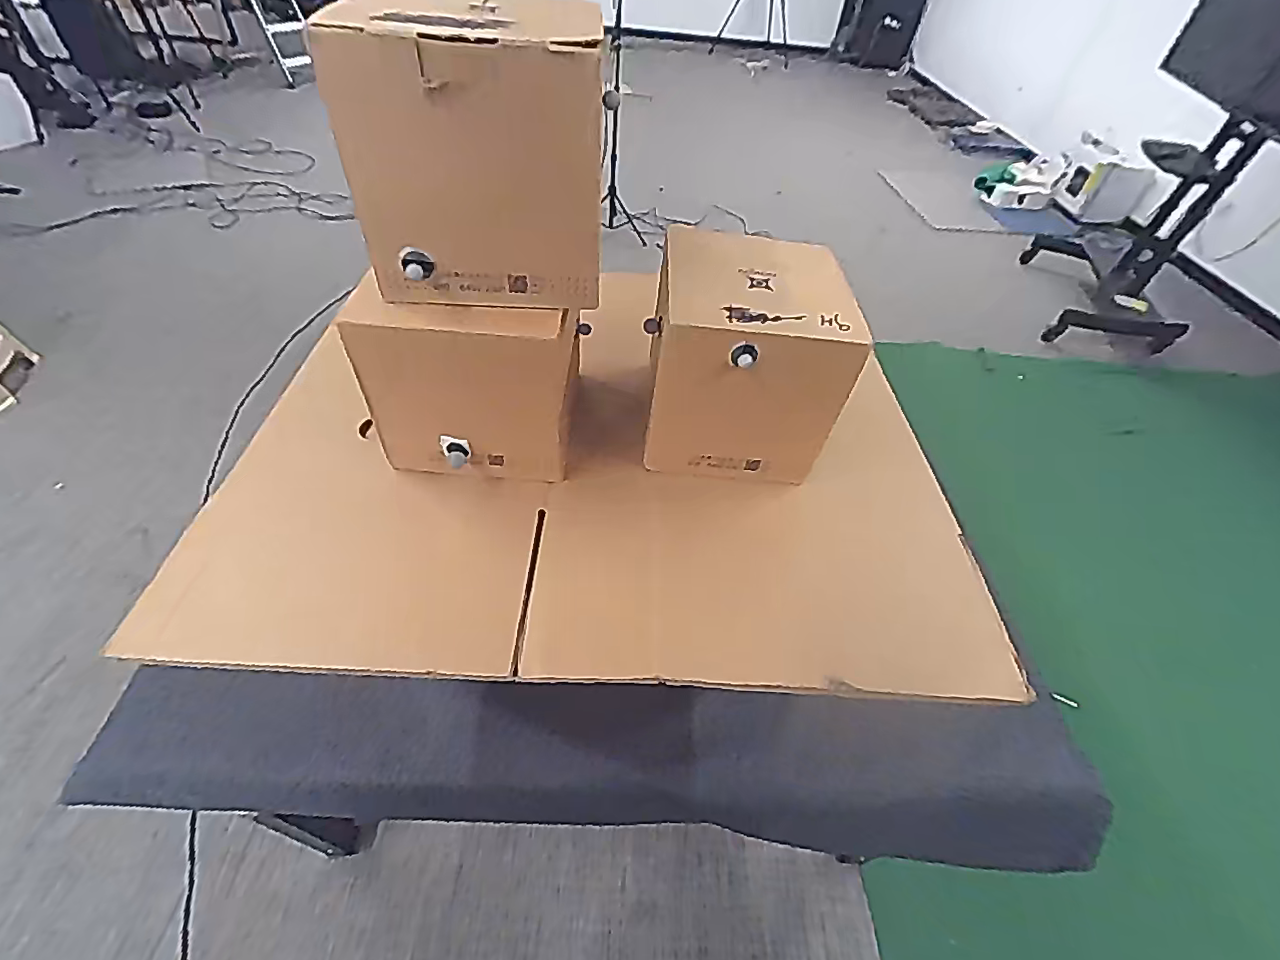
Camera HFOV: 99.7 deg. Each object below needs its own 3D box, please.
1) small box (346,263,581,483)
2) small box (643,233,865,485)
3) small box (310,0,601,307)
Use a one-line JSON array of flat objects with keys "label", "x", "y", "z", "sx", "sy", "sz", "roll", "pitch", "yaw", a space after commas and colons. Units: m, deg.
[{"label": "small box", "x": -0.147, "y": -0.120, "z": 0.525, "sx": 0.168, "sy": 0.176, "sz": 0.179, "roll": 3, "pitch": 50, "yaw": -2}, {"label": "small box", "x": 0.094, "y": -0.120, "z": 0.542, "sx": 0.168, "sy": 0.176, "sz": 0.179, "roll": 6, "pitch": 47, "yaw": -3}, {"label": "small box", "x": -0.115, "y": -0.252, "z": 0.425, "sx": 0.168, "sy": 0.176, "sz": 0.179, "roll": 1, "pitch": 47, "yaw": -5}]
